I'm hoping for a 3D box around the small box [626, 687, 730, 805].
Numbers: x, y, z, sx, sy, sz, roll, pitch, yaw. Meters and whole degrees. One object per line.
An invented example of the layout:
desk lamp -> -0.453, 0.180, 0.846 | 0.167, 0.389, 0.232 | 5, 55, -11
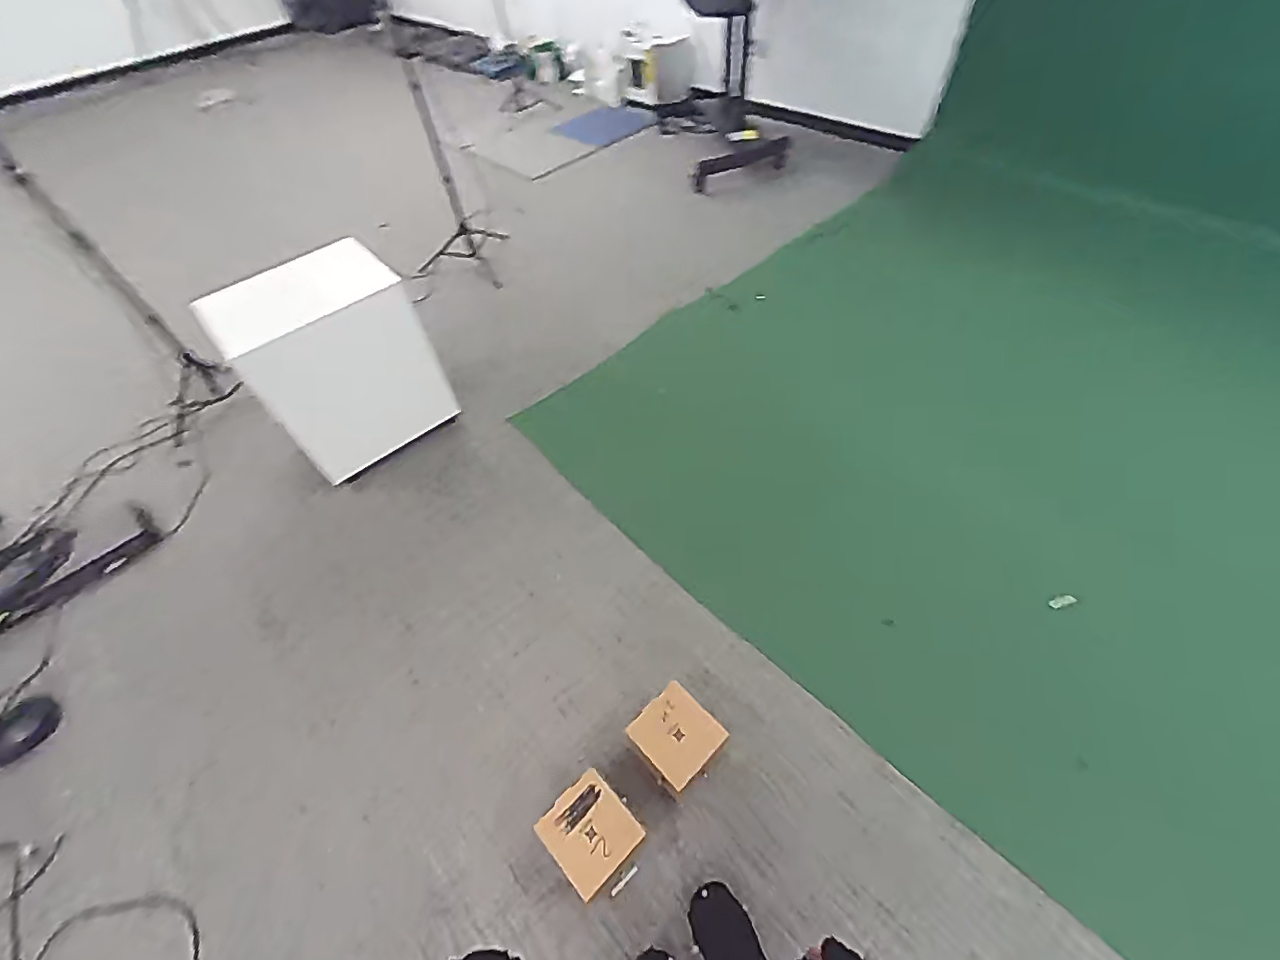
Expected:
small box -> 0.089, 0.627, 1.262 | 0.168, 0.176, 0.179 | -38, 57, -24
